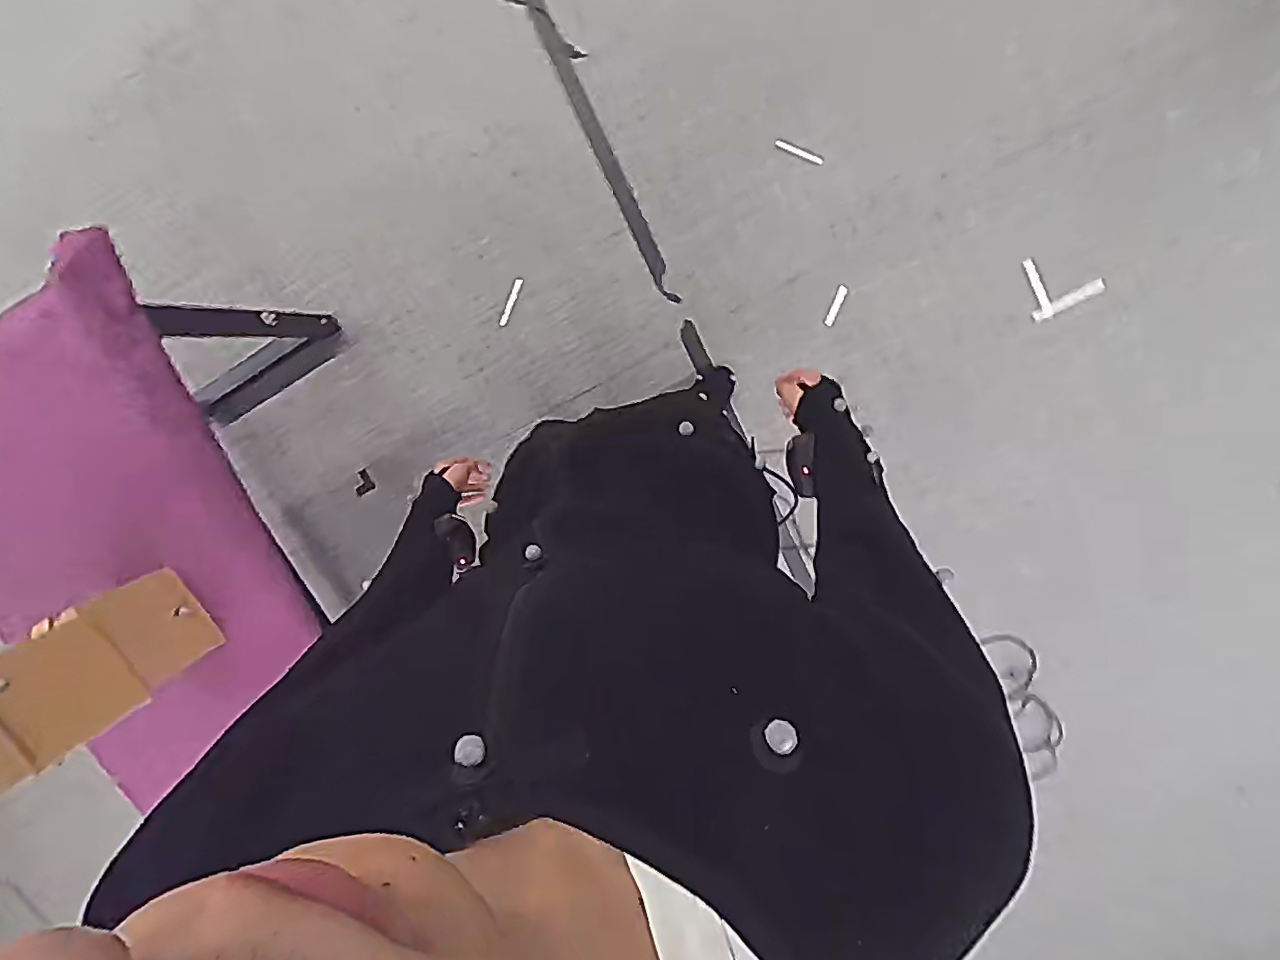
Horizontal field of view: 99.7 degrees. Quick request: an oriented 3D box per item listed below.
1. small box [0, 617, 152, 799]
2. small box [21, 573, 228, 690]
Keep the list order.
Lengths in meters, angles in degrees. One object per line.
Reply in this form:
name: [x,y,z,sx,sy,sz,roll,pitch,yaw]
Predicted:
small box: [-0.910,0.341,0.814,0.168,0.176,0.179,-28,99,13]
small box: [-0.909,0.287,0.969,0.168,0.176,0.179,-28,99,14]
